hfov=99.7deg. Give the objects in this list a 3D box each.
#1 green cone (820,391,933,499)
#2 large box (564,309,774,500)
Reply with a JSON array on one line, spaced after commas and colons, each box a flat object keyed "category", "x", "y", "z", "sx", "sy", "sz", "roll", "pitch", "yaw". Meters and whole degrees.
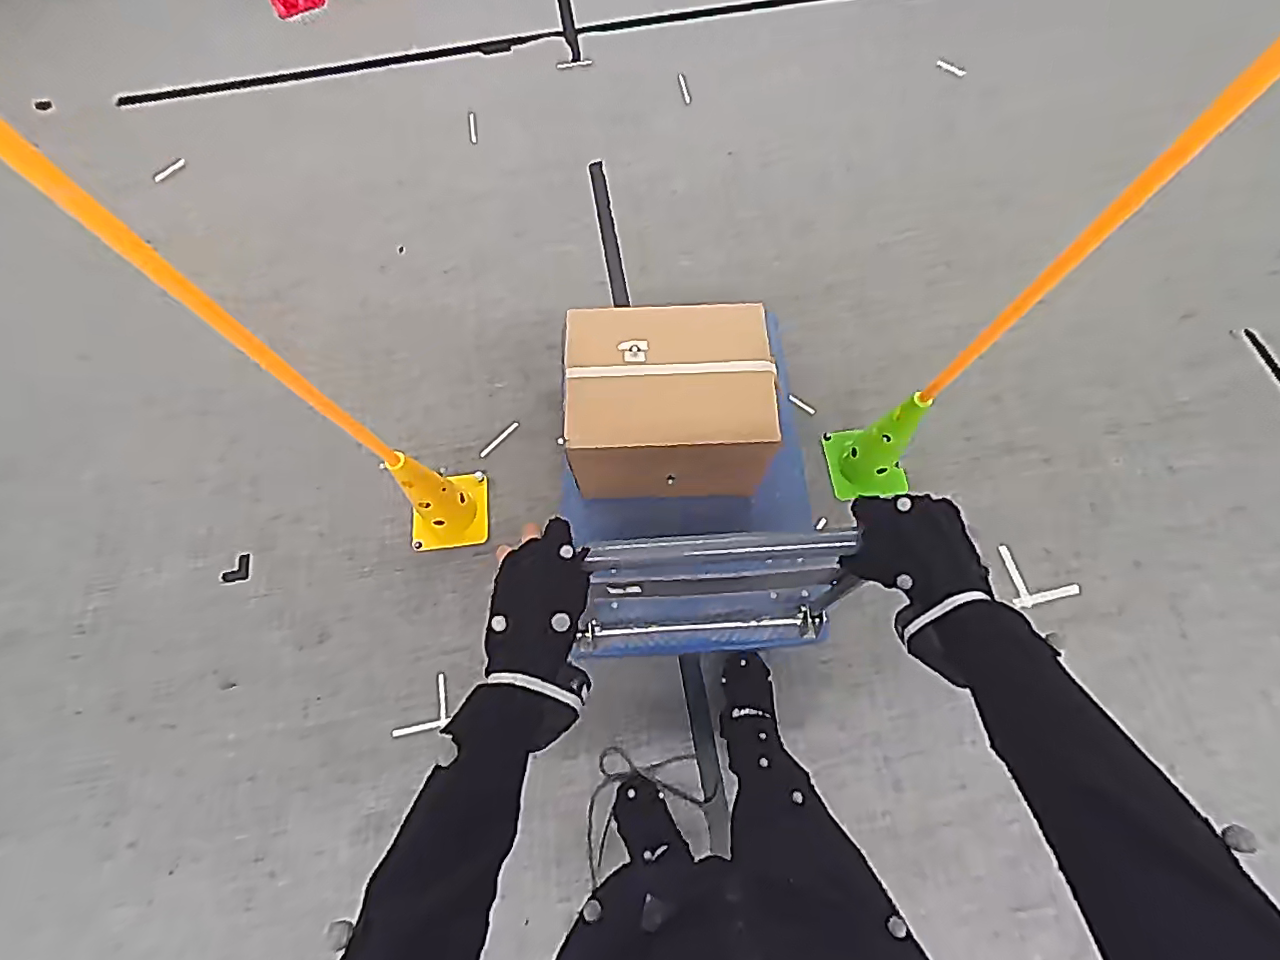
[{"category": "green cone", "x": 0.610, "y": -0.108, "z": 1.333, "sx": 0.202, "sy": 0.368, "sz": 0.200, "roll": -6, "pitch": 69, "yaw": -2}, {"category": "large box", "x": 0.055, "y": -0.149, "z": 1.208, "sx": 0.408, "sy": 0.320, "sz": 0.320, "roll": -2, "pitch": 70, "yaw": 1}]
